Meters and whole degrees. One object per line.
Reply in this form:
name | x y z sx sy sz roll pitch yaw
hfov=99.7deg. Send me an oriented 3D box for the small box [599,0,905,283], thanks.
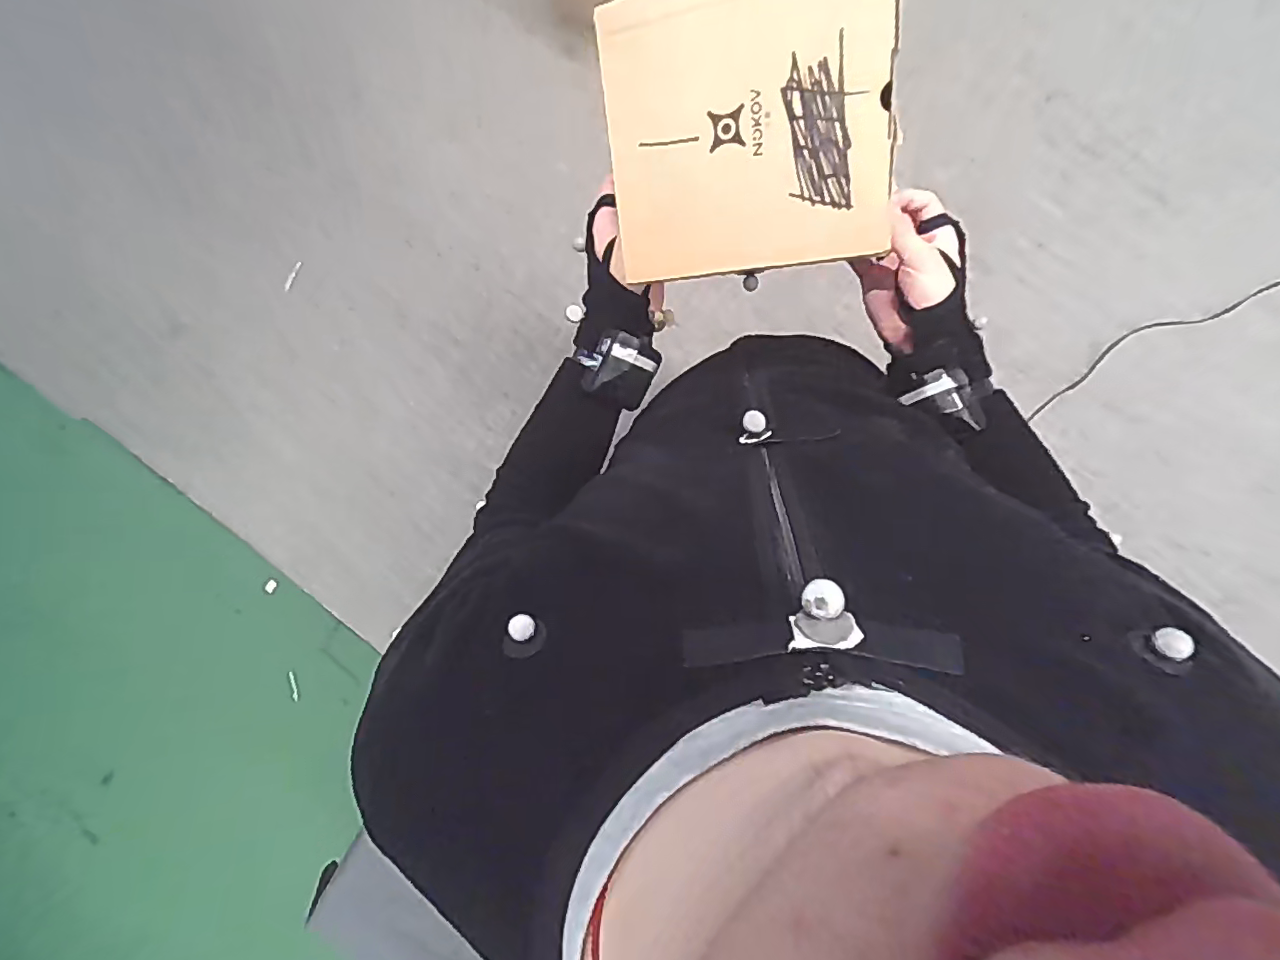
small box | 0.089 -0.246 0.402 0.179 0.176 0.168 0 111 20
